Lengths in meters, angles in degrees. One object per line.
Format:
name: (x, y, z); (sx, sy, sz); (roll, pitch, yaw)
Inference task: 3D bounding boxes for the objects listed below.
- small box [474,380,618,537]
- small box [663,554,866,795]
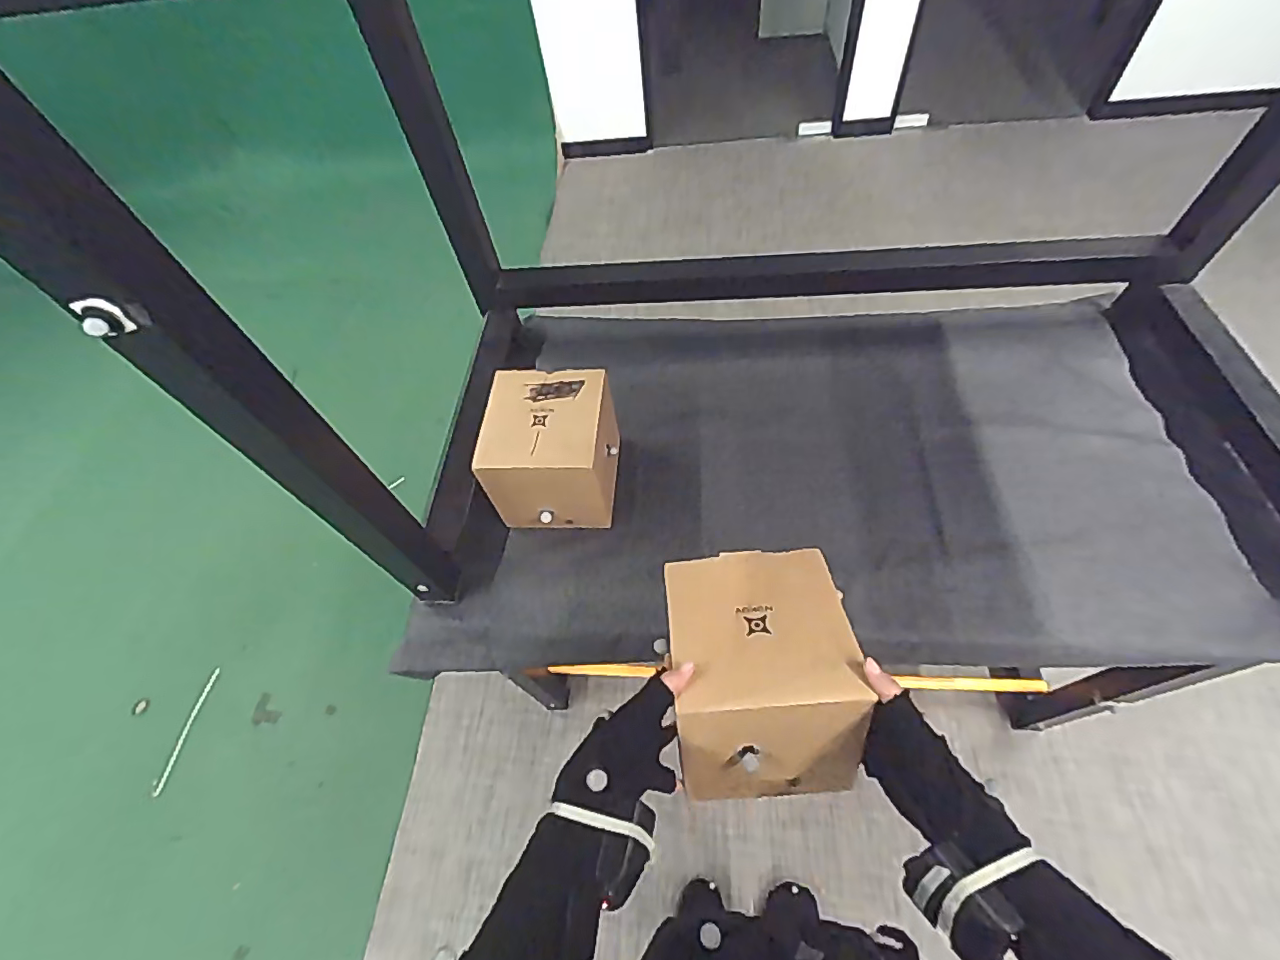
small box: (-0.128, -0.031, 0.819); (0.168, 0.176, 0.179); (0, 57, 6)
small box: (0.115, 0.203, 0.558); (0.168, 0.176, 0.179); (-6, 35, 3)
